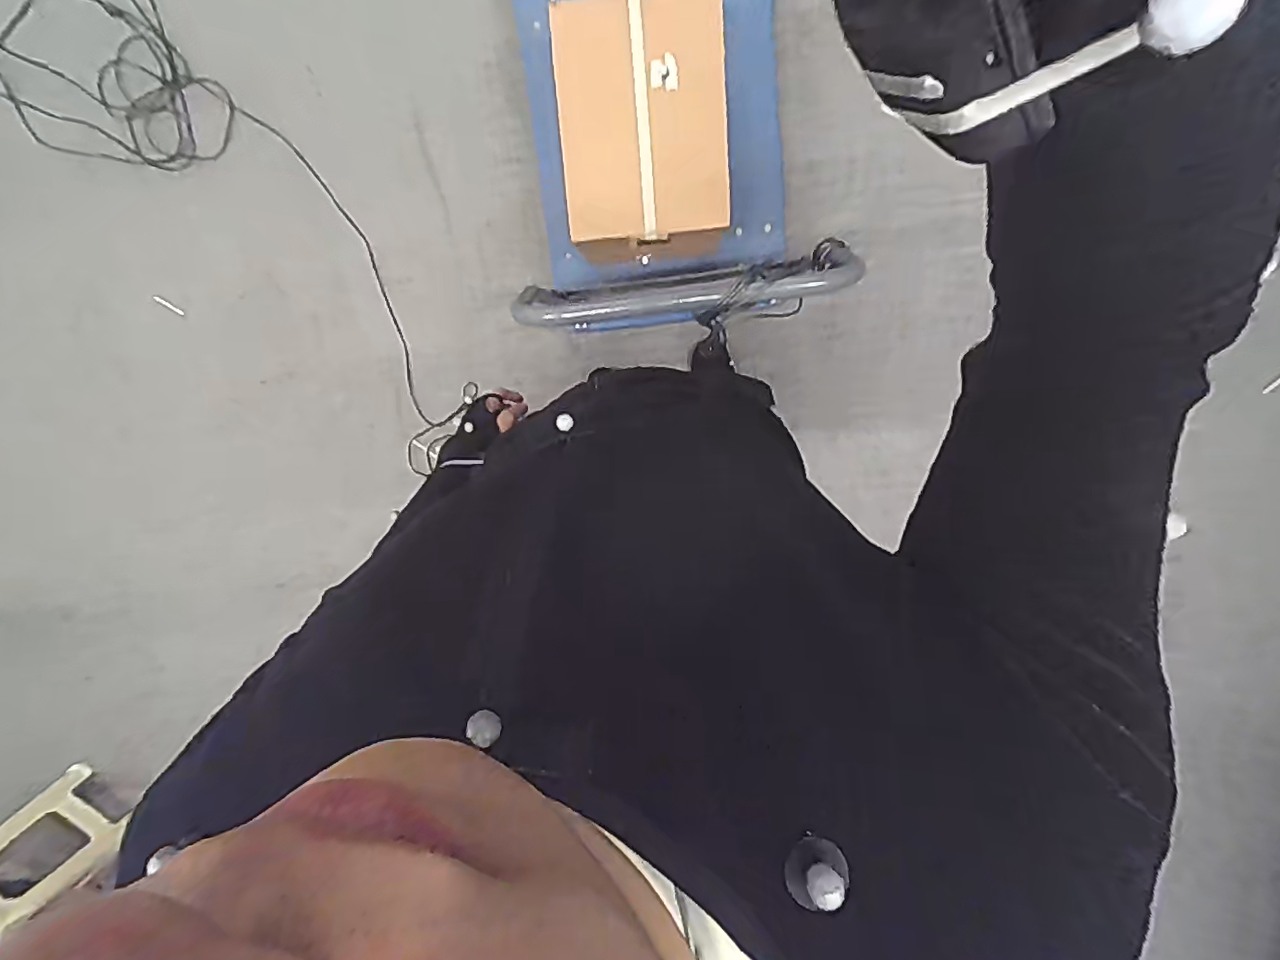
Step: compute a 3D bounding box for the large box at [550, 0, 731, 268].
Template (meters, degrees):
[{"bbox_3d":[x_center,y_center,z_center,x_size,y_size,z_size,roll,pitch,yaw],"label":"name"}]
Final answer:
[{"bbox_3d":[0.015,-0.700,1.153,0.320,0.320,0.408,-3,102,4],"label":"large box"}]
